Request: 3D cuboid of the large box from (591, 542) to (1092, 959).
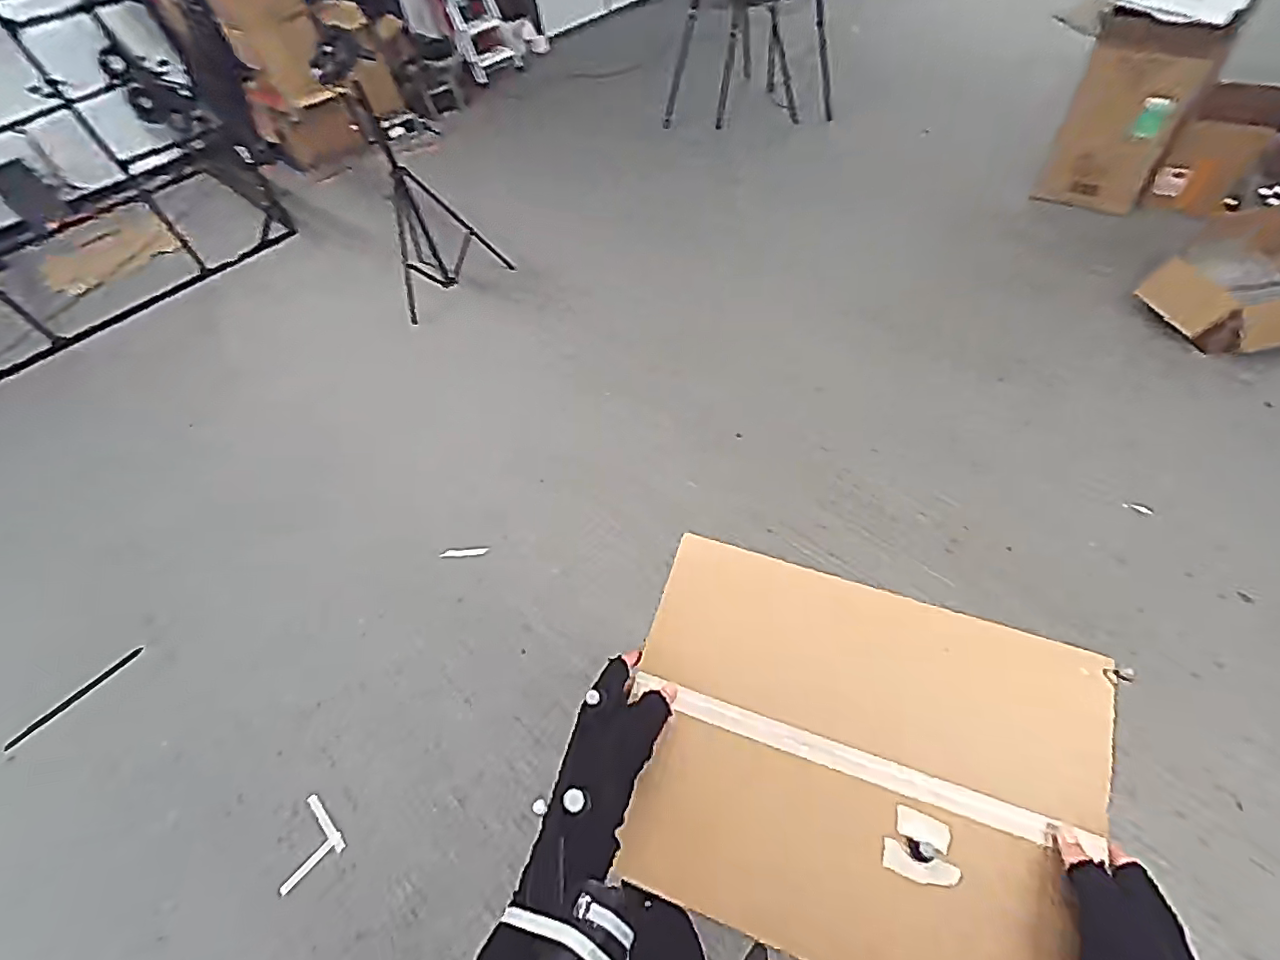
[{"bbox_3d":[0.200,0.301,0.629,0.408,0.320,0.320,15,72,12],"label":"large box"}]
